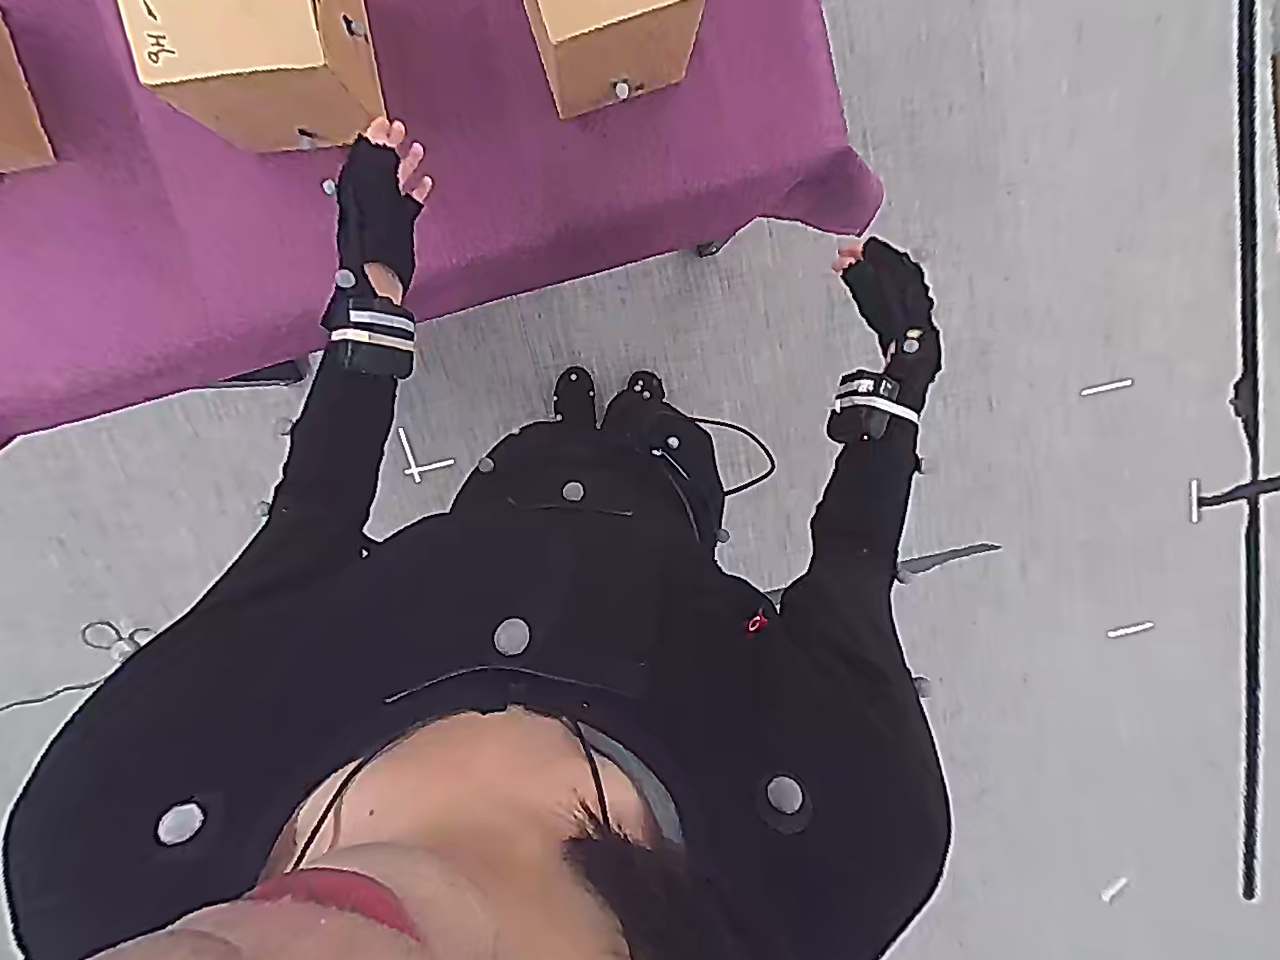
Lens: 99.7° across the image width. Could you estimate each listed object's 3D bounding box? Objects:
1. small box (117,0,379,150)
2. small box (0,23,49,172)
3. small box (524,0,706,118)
[{"bbox_3d":[-0.399,-0.476,0.572,0.179,0.176,0.168,-8,101,-4],"label":"small box"},{"bbox_3d":[-0.788,-0.433,0.547,0.168,0.176,0.179,-12,102,-2],"label":"small box"},{"bbox_3d":[-0.042,-0.544,0.588,0.168,0.176,0.179,-18,102,0],"label":"small box"}]
